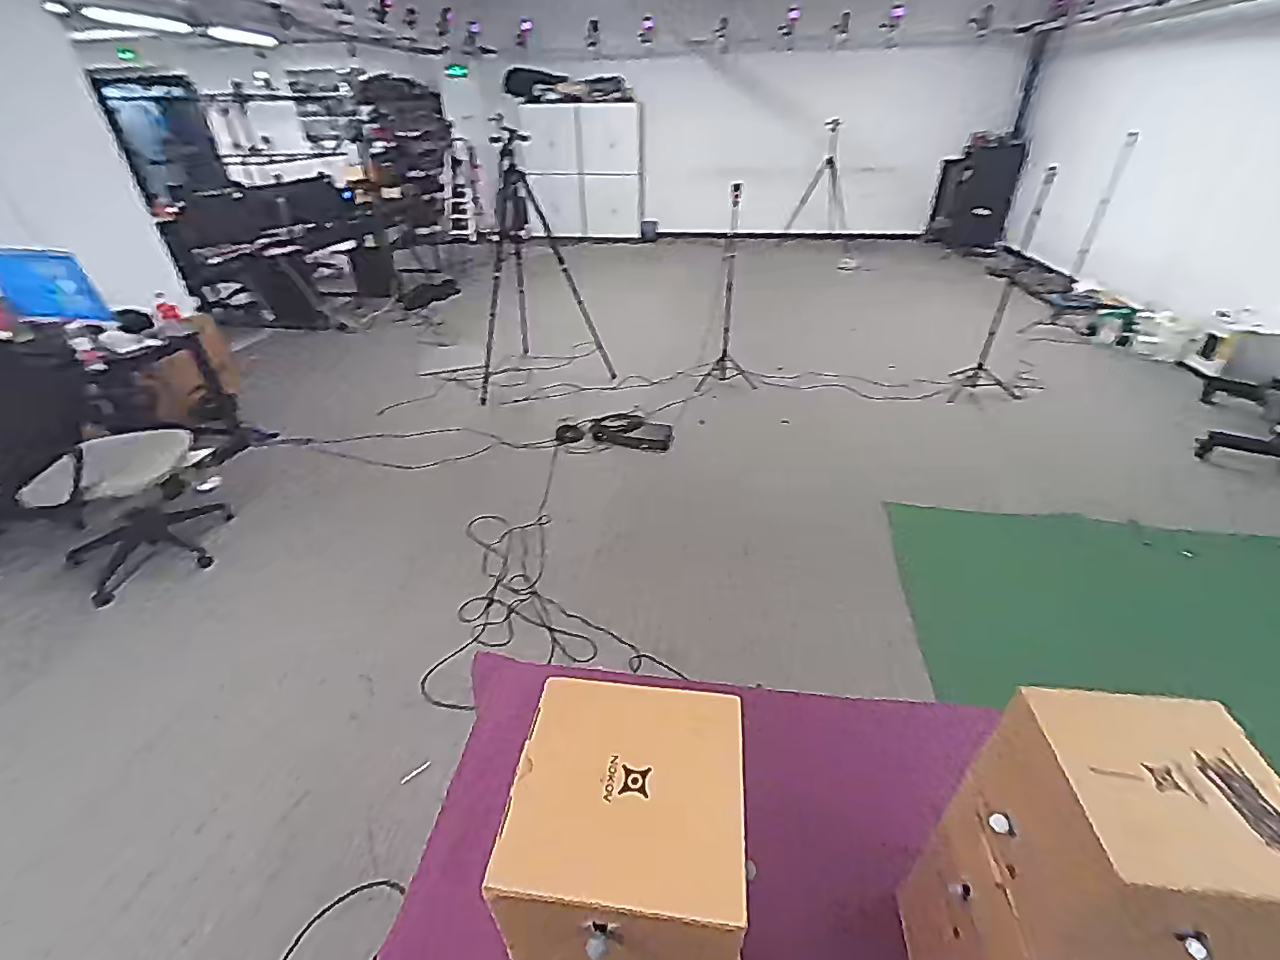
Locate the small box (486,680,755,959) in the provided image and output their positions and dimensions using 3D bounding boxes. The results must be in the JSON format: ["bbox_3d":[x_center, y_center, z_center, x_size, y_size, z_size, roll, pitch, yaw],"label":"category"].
[{"bbox_3d":[-0.003,0.296,0.453,0.179,0.176,0.168,3,35,7],"label":"small box"}]

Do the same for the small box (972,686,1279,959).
[{"bbox_3d":[0.443,0.316,0.490,0.179,0.176,0.168,3,35,7],"label":"small box"}]

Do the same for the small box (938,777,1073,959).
[{"bbox_3d":[0.445,0.453,0.582,0.179,0.176,0.168,3,35,8],"label":"small box"}]
